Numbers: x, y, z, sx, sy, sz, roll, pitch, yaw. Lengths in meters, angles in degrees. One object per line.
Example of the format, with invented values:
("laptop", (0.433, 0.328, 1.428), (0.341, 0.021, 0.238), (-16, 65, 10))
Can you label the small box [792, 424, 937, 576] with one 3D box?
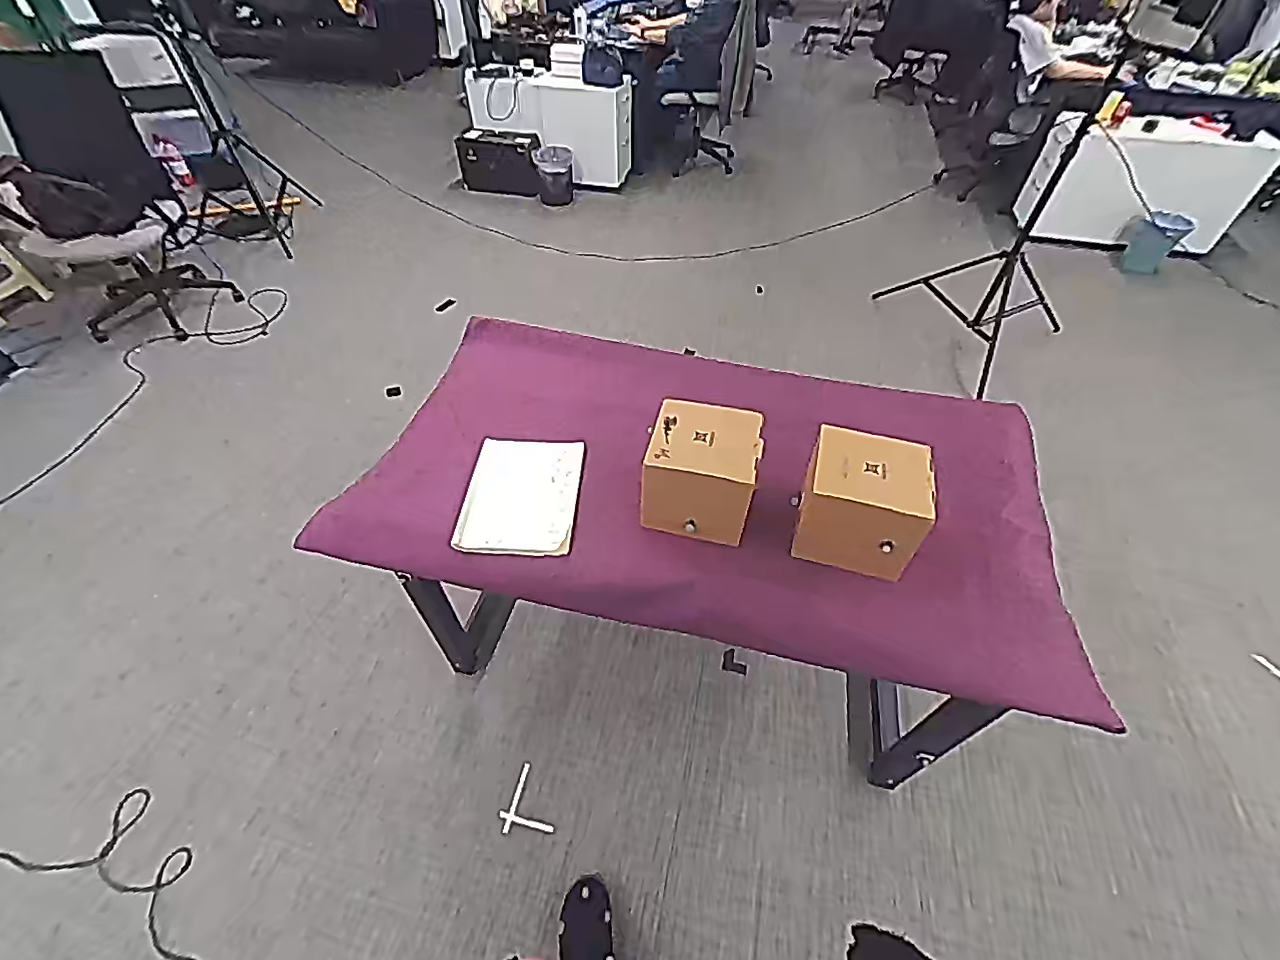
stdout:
("small box", (0.364, 0.036, 0.896), (0.179, 0.176, 0.168), (12, 47, 12))

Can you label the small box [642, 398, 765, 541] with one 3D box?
("small box", (0.106, -0.014, 0.936), (0.179, 0.176, 0.168), (11, 48, 8))
